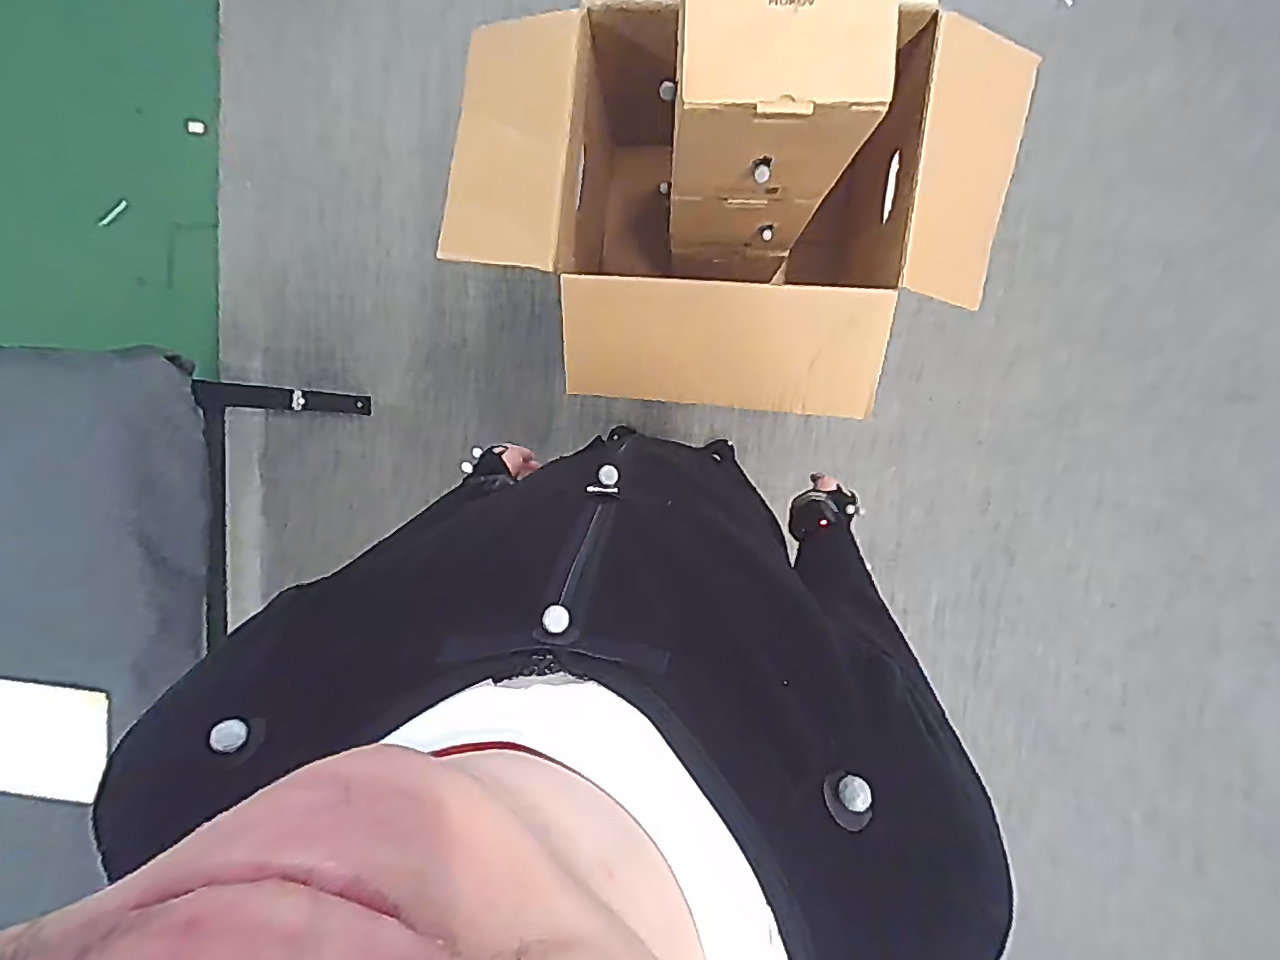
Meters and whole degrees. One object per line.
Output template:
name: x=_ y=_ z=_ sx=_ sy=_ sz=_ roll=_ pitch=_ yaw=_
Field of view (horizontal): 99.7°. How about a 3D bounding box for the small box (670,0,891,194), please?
small box: x=0.116 y=-0.387 z=0.501 sx=0.168 sy=0.176 sz=0.179 roll=2 pitch=96 yaw=0
